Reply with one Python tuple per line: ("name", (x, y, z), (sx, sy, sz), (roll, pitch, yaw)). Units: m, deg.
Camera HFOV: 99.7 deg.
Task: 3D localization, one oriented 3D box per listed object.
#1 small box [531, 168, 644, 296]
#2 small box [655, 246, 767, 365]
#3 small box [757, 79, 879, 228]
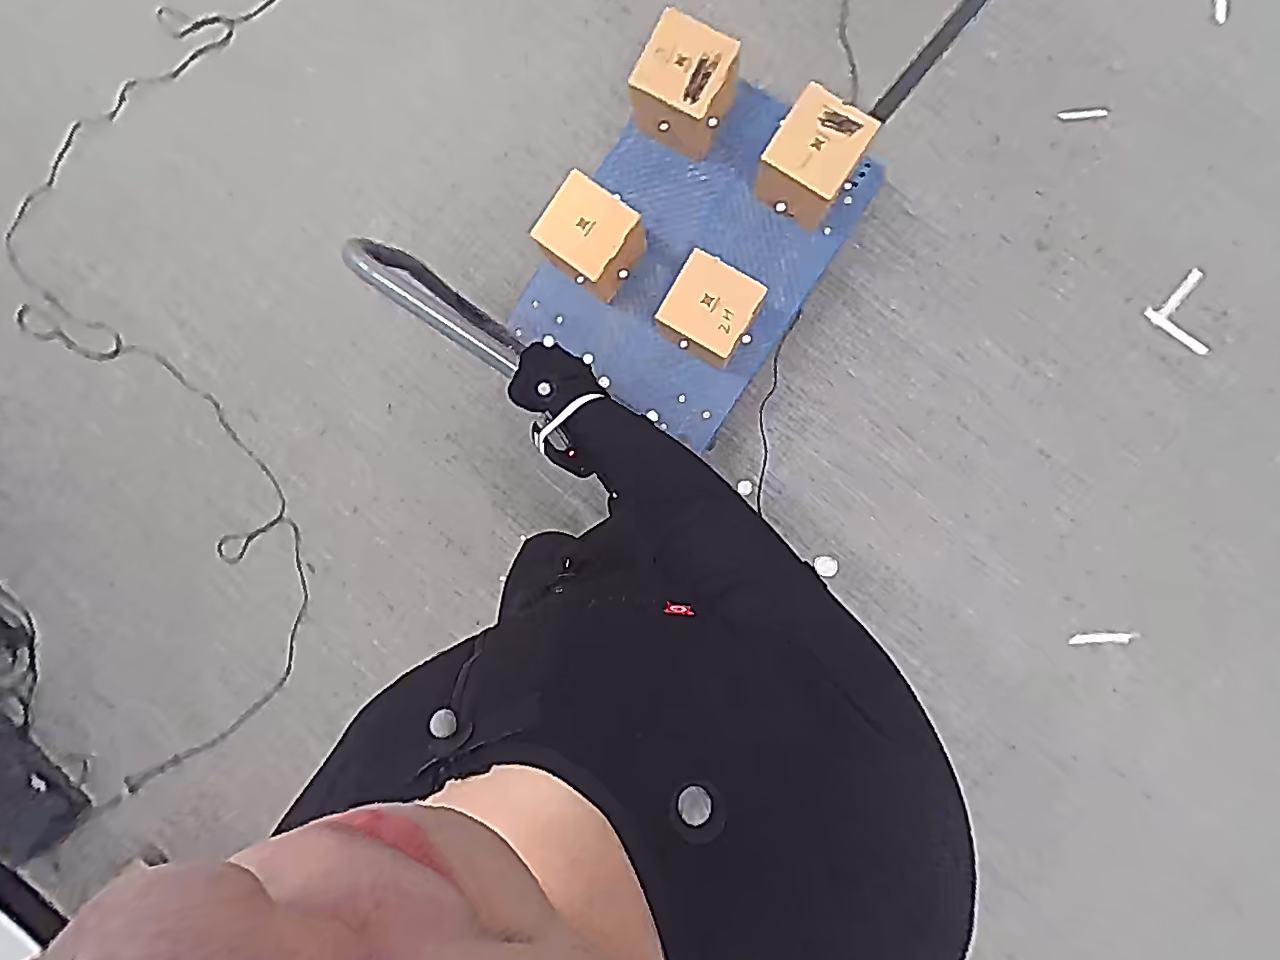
("small box", (-0.109, -0.536, 1.200), (0.179, 0.176, 0.168), (36, 95, 1))
("small box", (0.151, -0.369, 1.183), (0.179, 0.176, 0.168), (31, 96, 3))
("small box", (0.363, -0.679, 1.146), (0.168, 0.176, 0.179), (34, 97, 3))
